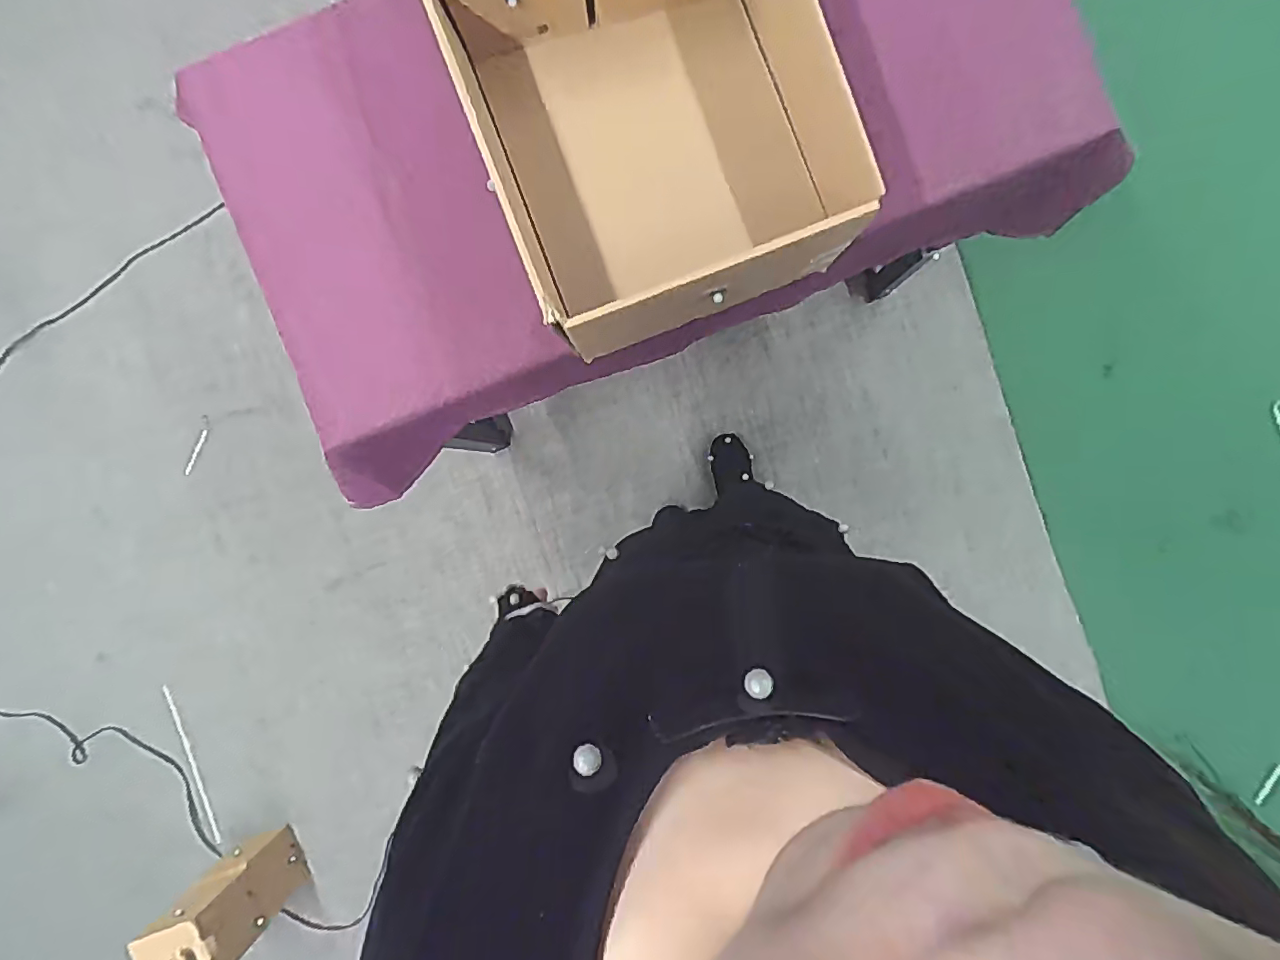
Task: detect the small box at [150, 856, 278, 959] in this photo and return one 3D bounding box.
[{"bbox_3d":[-1.061,1.103,1.369,0.179,0.176,0.168,-22,90,5],"label":"small box"}]
